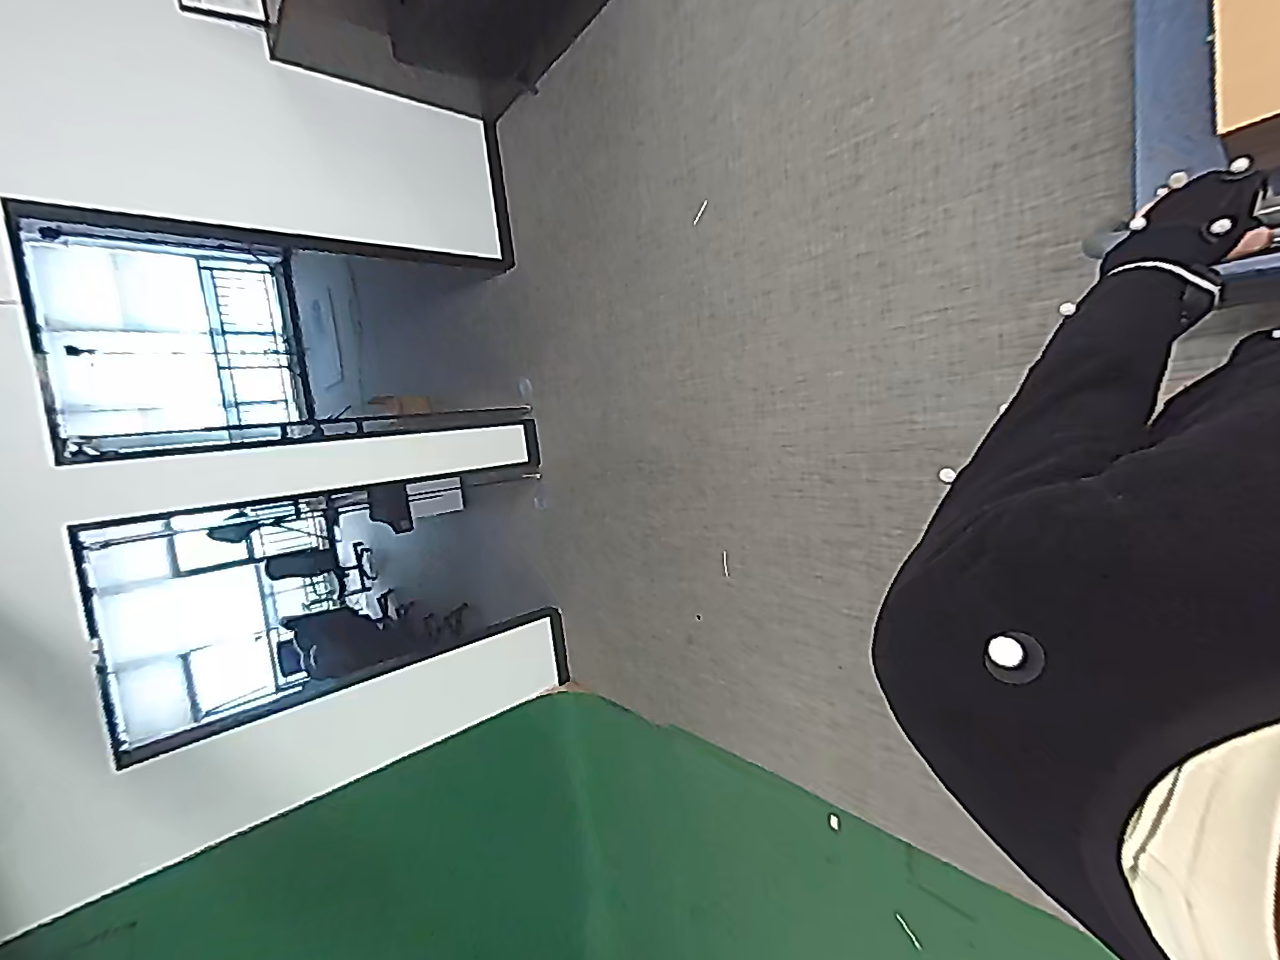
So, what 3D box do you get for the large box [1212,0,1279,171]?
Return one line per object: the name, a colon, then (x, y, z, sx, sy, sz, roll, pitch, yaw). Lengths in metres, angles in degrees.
large box: (1.029, -0.726, 0.743, 0.320, 0.320, 0.408, -1, 97, 51)
